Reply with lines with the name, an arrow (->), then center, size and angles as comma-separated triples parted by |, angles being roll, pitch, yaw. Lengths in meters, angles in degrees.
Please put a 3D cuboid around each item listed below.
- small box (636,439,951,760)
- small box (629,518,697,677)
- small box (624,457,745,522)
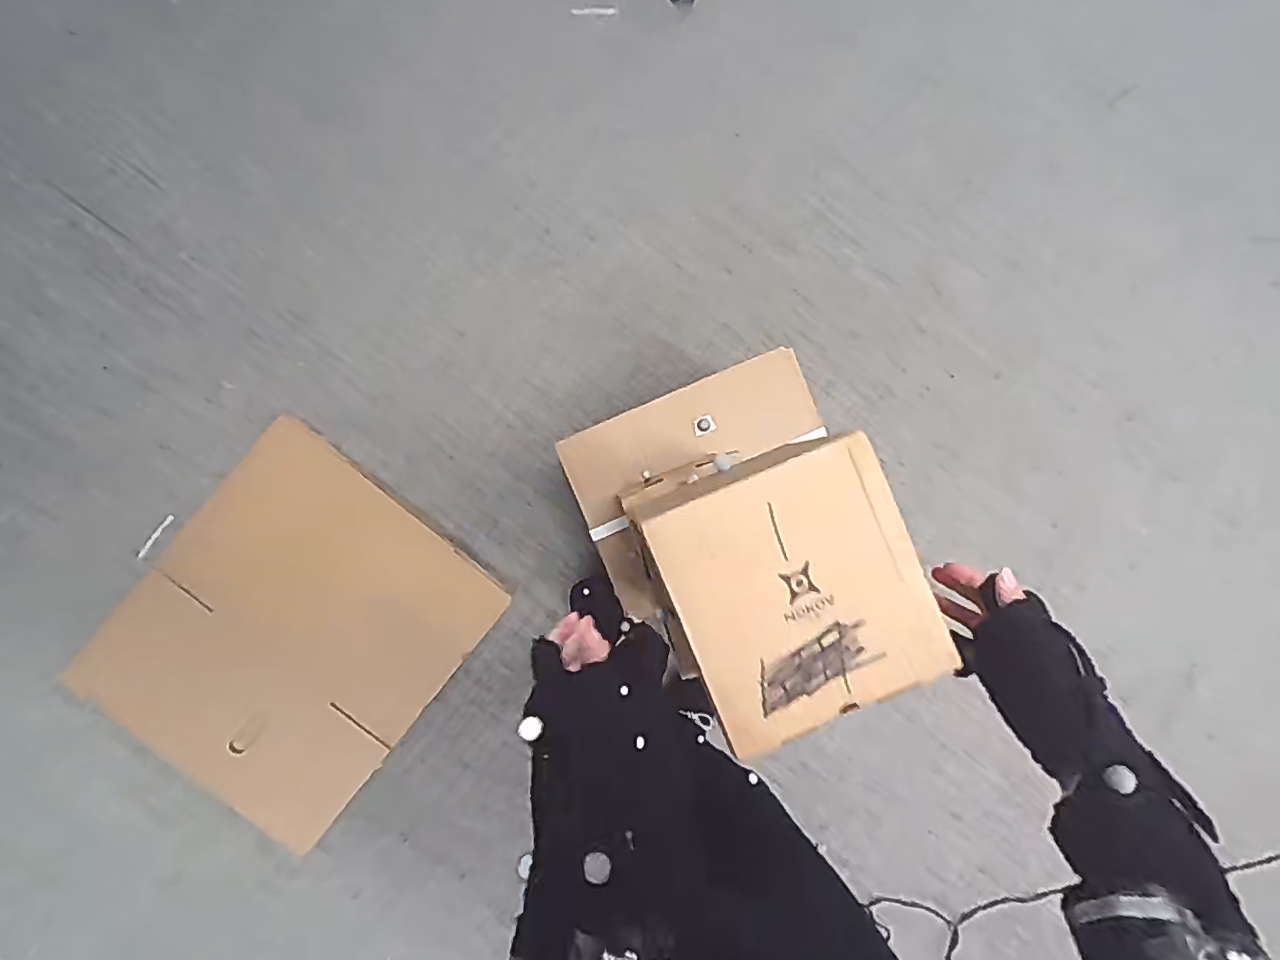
small box -> 0.104, 0.080, 0.443 | 0.168, 0.176, 0.179 | -23, 90, -2
small box -> 0.096, 0.091, 0.610 | 0.179, 0.176, 0.168 | -22, 90, -2
small box -> 0.081, 0.077, 0.770 | 0.168, 0.176, 0.179 | -22, 93, -2
